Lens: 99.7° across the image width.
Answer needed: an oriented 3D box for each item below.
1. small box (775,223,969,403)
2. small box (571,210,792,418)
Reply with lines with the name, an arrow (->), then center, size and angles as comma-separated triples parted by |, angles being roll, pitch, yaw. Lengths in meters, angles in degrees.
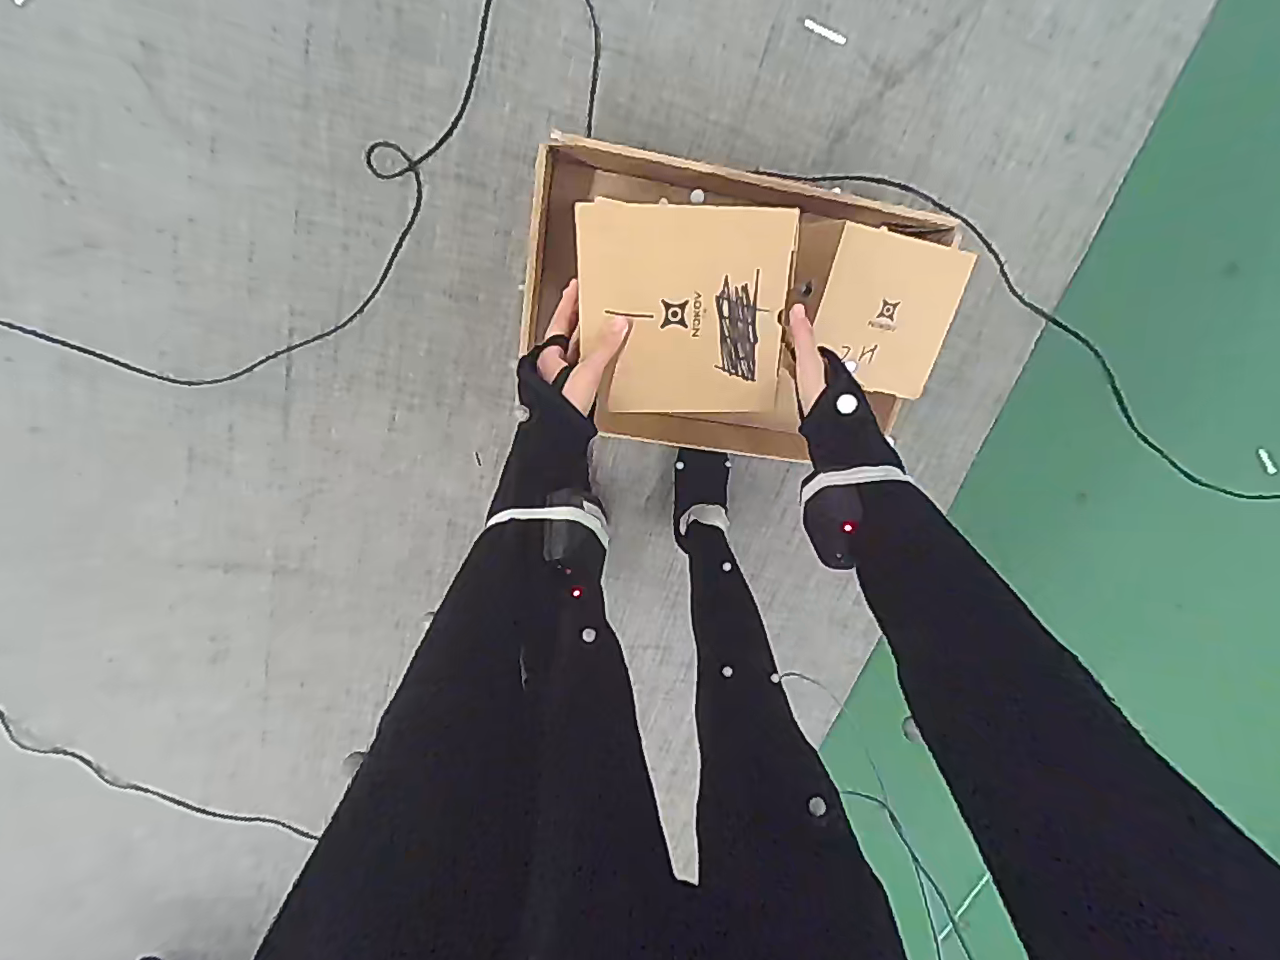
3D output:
small box -> 0.269, -0.218, 0.700 | 0.168, 0.176, 0.179 | 10, 112, -9
small box -> 0.024, -0.162, 0.520 | 0.179, 0.176, 0.168 | -1, 114, -5
